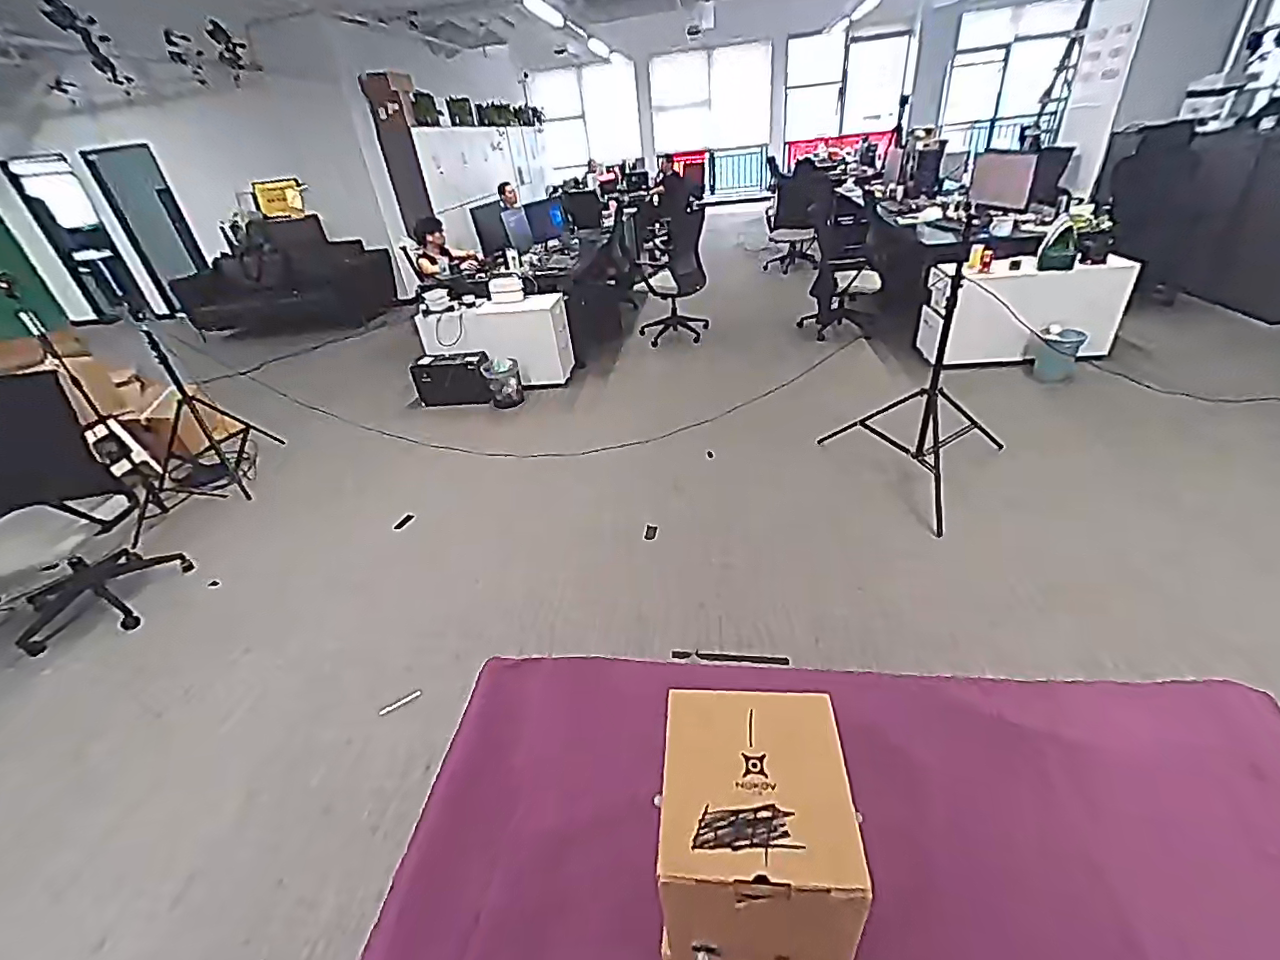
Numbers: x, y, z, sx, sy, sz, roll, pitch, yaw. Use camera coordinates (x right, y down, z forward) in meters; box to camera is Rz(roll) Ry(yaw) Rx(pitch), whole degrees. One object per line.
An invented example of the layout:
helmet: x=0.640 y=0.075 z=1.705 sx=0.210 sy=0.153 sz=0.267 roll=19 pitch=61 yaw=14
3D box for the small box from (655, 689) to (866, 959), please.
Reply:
small box: x=0.110 y=0.332 z=0.529 sx=0.168 sy=0.176 sz=0.179 roll=-1 pitch=32 yaw=8
